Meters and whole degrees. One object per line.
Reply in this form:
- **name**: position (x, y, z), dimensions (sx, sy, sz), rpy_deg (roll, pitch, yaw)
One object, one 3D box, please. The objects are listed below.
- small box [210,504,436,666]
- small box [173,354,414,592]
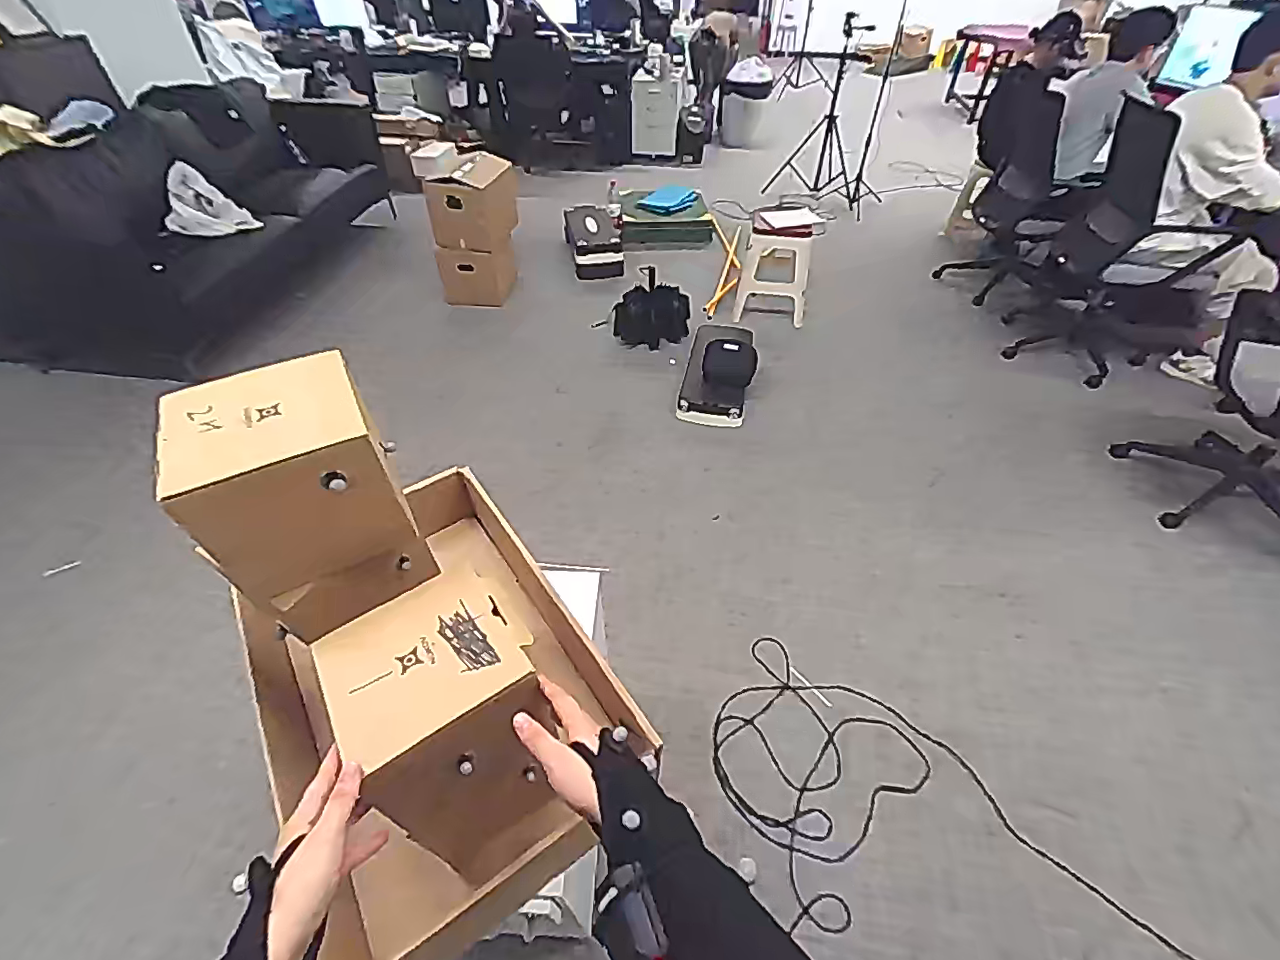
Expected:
- **small box**: position (-0.399, 0.110, 0.721), dimensions (0.168, 0.176, 0.179), rpy_deg (22, 52, 21)
- **small box**: position (-0.372, -0.009, 0.607), dimensions (0.179, 0.176, 0.168), rpy_deg (-23, 50, -19)
